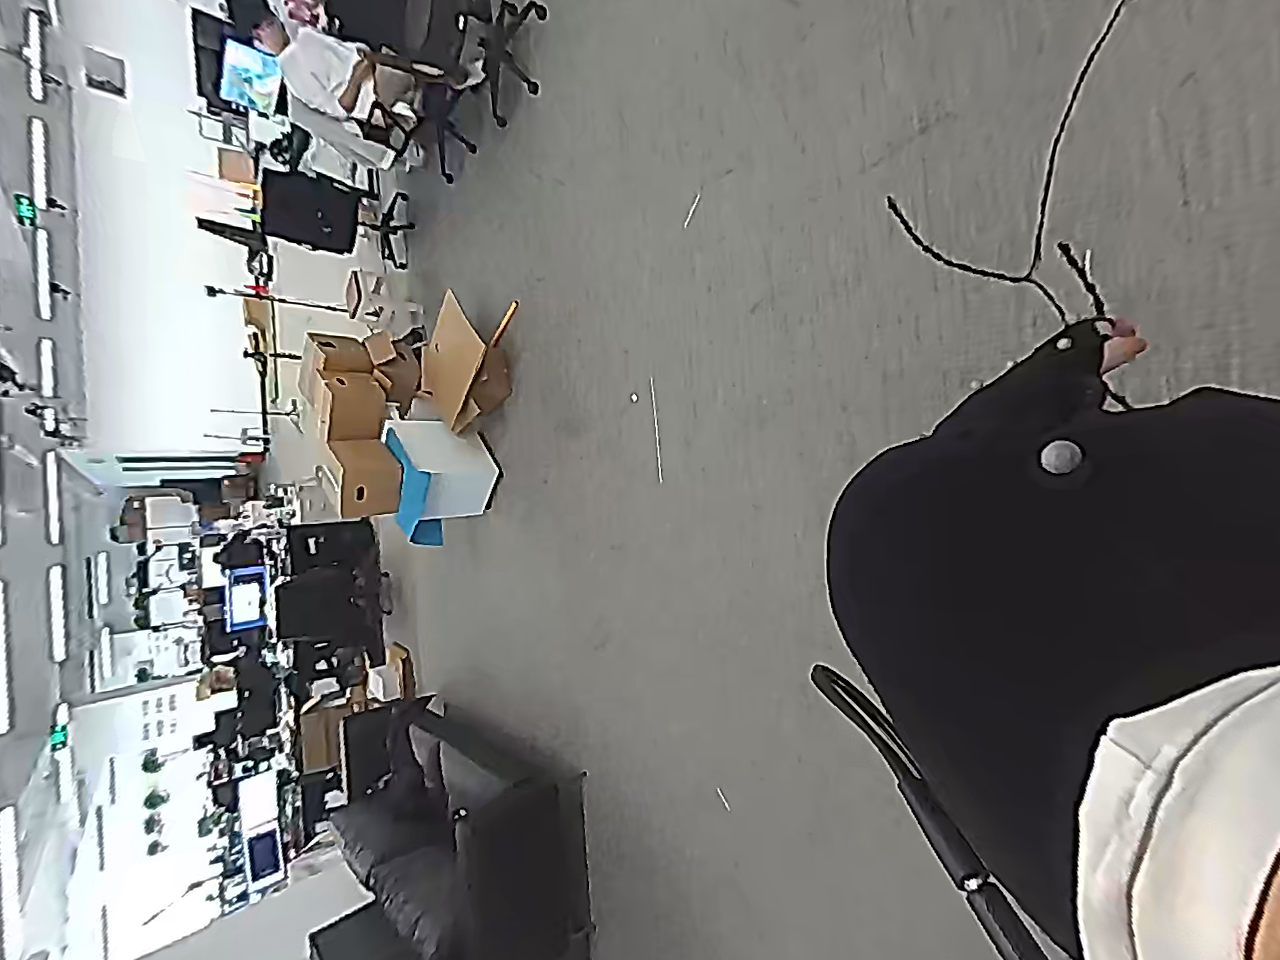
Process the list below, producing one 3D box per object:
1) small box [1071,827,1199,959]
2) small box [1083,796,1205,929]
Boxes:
[{"bbox_3d":[0.963,0.825,1.052,0.168,0.176,0.179,3,94,49],"label":"small box"},{"bbox_3d":[1.081,0.817,1.162,0.179,0.176,0.168,2,94,48],"label":"small box"}]
